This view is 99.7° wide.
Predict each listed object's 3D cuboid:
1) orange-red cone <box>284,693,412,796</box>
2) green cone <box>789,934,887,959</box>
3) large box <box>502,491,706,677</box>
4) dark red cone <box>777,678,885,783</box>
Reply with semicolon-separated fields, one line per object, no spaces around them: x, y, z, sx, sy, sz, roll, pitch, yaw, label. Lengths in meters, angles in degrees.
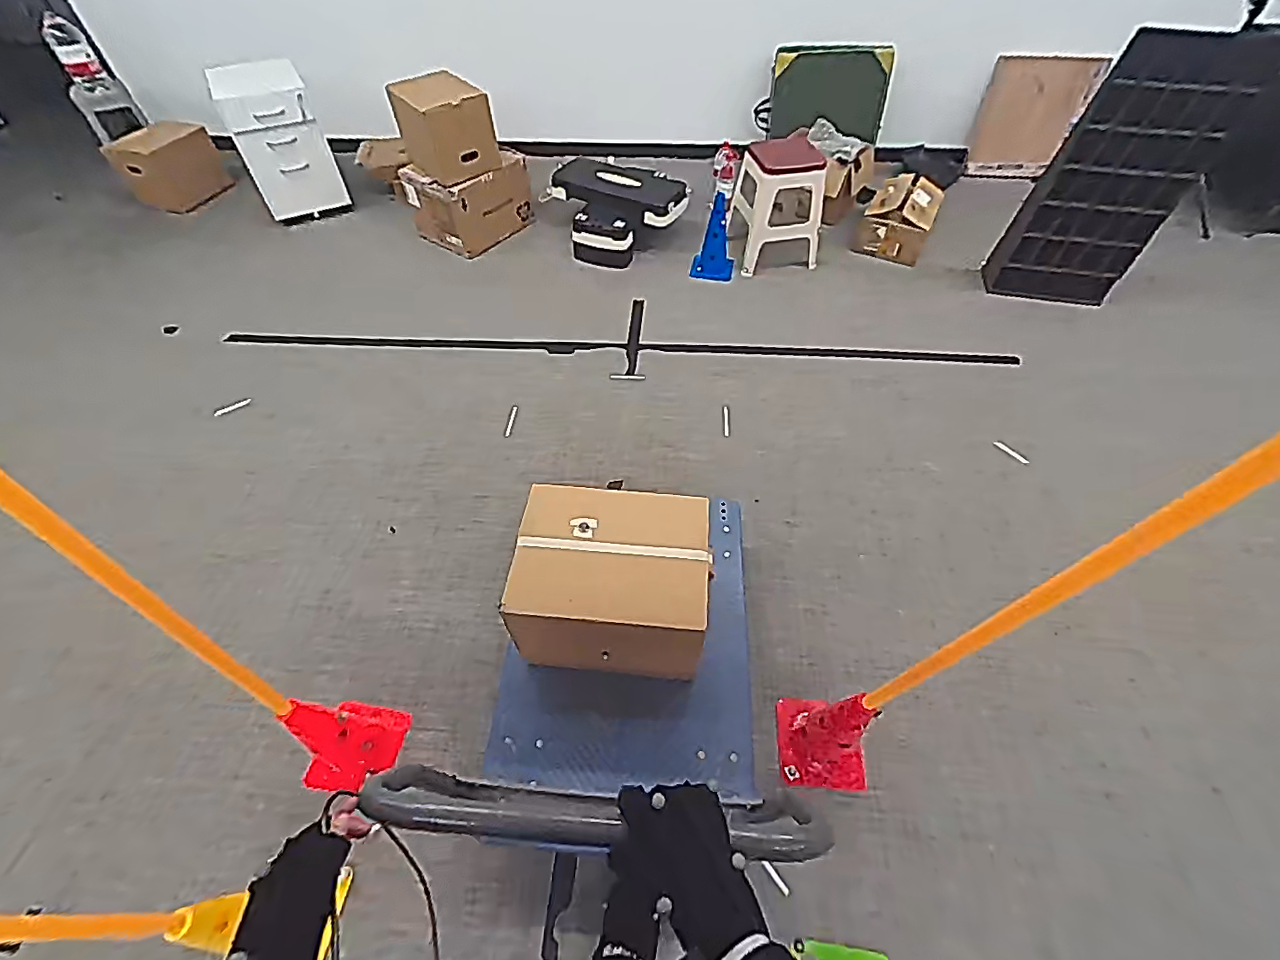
-0.688;0.546;1.204;0.198;0.360;0.199;9;51;7;orange-red cone
0.393;0.912;0.906;0.202;0.368;0.200;7;52;4;green cone
-0.057;0.247;1.250;0.408;0.320;0.320;4;53;4;large box
0.446;0.522;1.190;0.201;0.394;0.202;4;52;1;dark red cone
